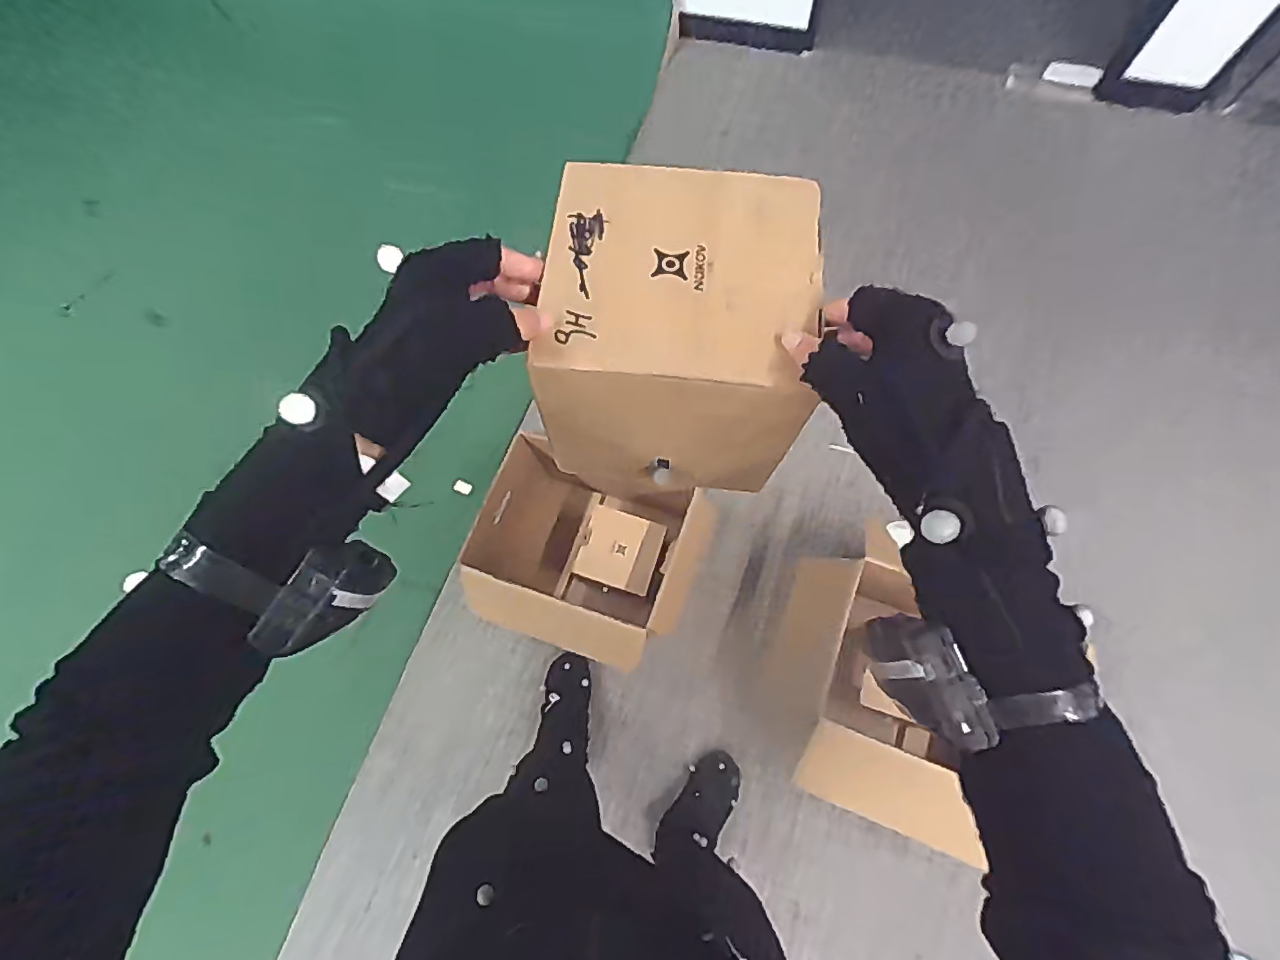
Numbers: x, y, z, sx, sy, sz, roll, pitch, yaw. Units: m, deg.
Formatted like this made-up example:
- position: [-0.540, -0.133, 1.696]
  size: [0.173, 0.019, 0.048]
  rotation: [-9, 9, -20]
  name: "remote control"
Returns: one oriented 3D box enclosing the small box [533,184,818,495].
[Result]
- position: [0.025, -0.094, 0.426]
  size: [0.179, 0.176, 0.168]
  rotation: [5, 68, 0]
  name: "small box"
